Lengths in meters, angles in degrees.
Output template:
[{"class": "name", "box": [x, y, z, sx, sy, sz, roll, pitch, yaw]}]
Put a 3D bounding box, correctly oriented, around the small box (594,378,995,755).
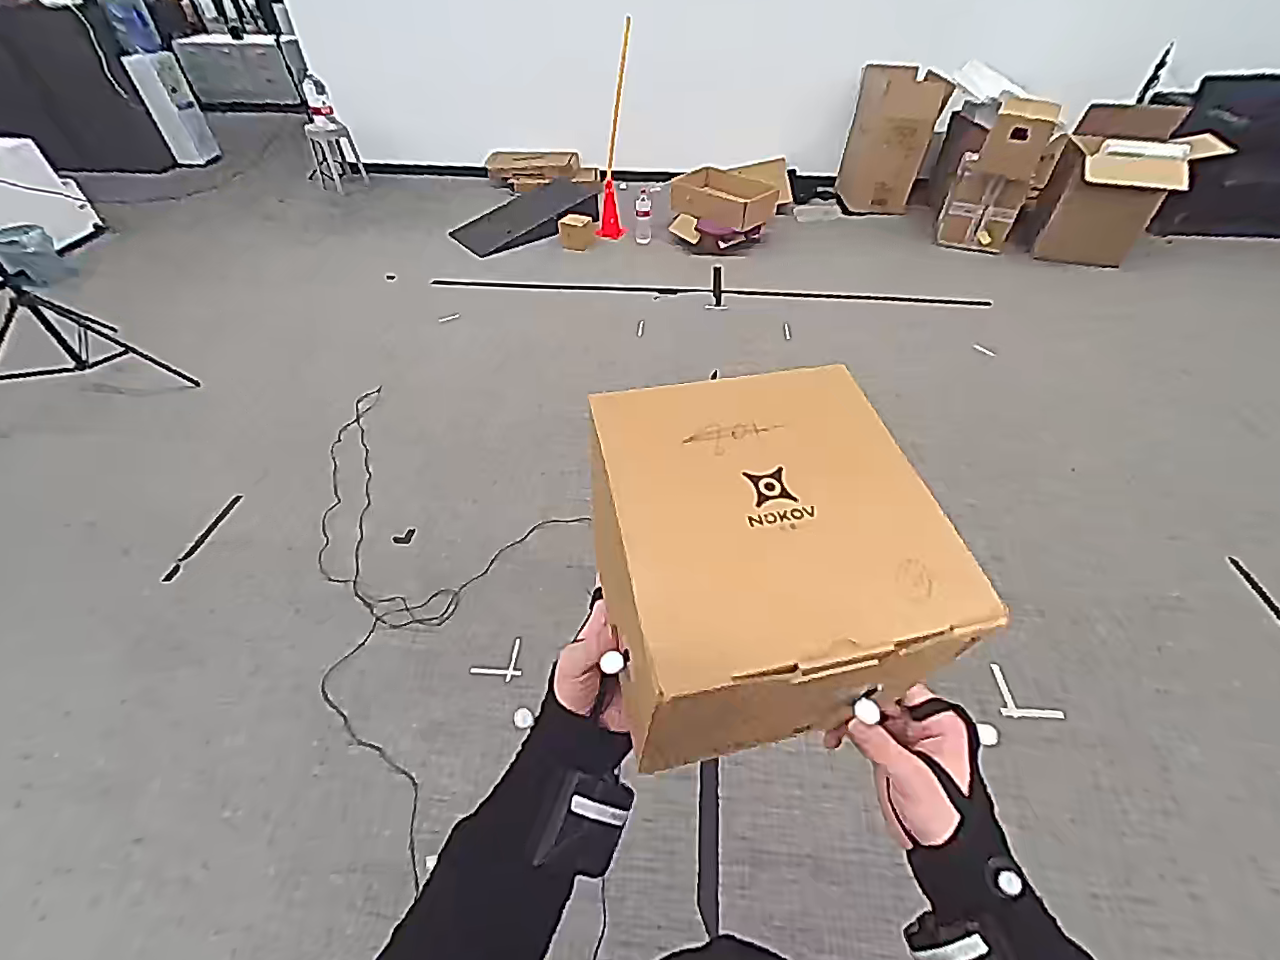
[{"class": "small box", "box": [0.067, 0.062, 0.350, 0.168, 0.176, 0.179, -8, 53, -11]}]
